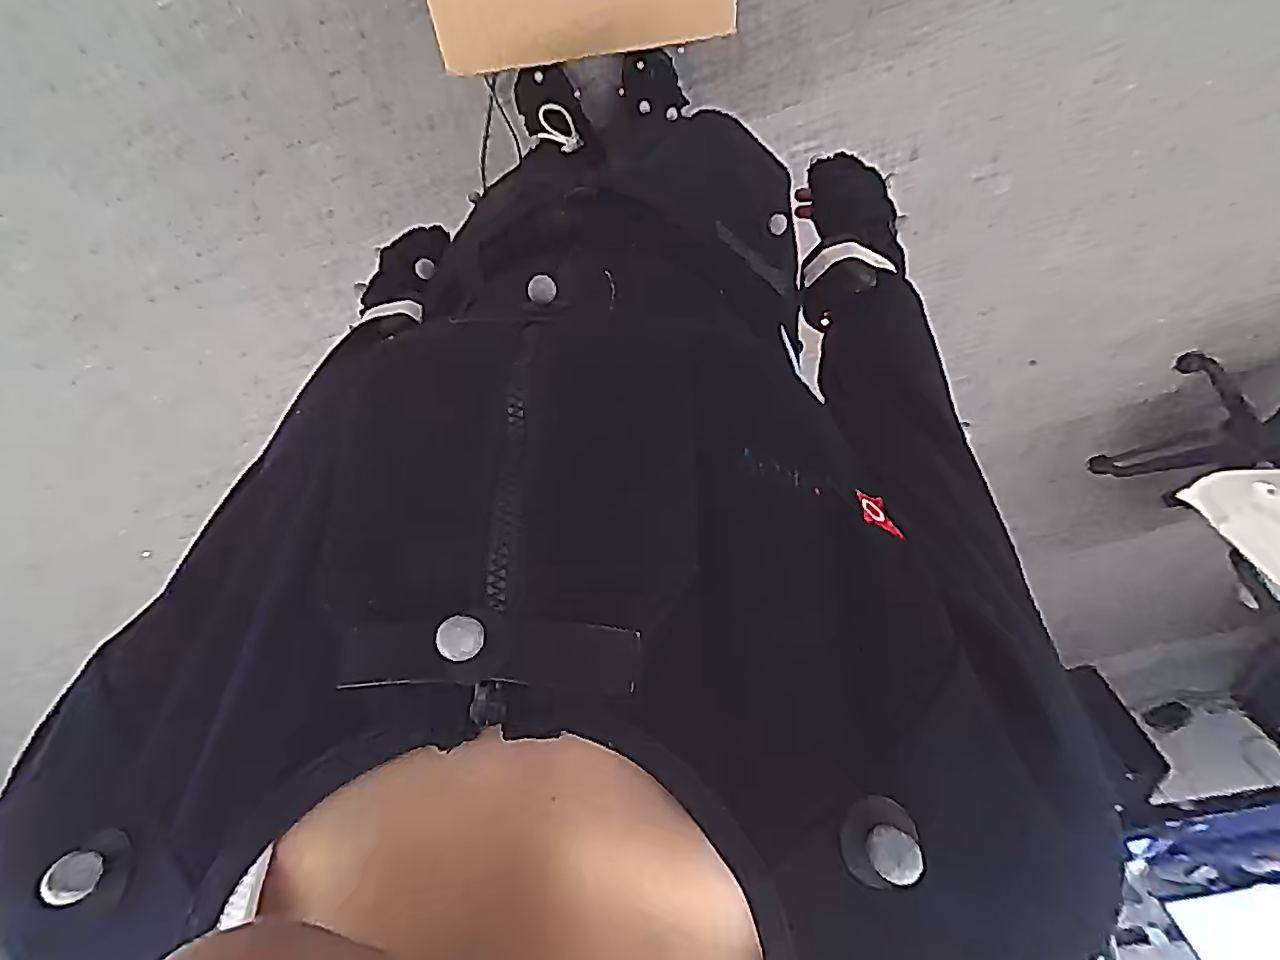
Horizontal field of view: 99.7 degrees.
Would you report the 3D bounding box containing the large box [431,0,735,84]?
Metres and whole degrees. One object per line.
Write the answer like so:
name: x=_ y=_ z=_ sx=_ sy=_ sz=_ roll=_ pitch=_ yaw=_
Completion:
large box: x=-0.095 y=-0.799 z=0.764 sx=0.408 sy=0.320 sz=0.320 roll=-8 pitch=131 yaw=1
